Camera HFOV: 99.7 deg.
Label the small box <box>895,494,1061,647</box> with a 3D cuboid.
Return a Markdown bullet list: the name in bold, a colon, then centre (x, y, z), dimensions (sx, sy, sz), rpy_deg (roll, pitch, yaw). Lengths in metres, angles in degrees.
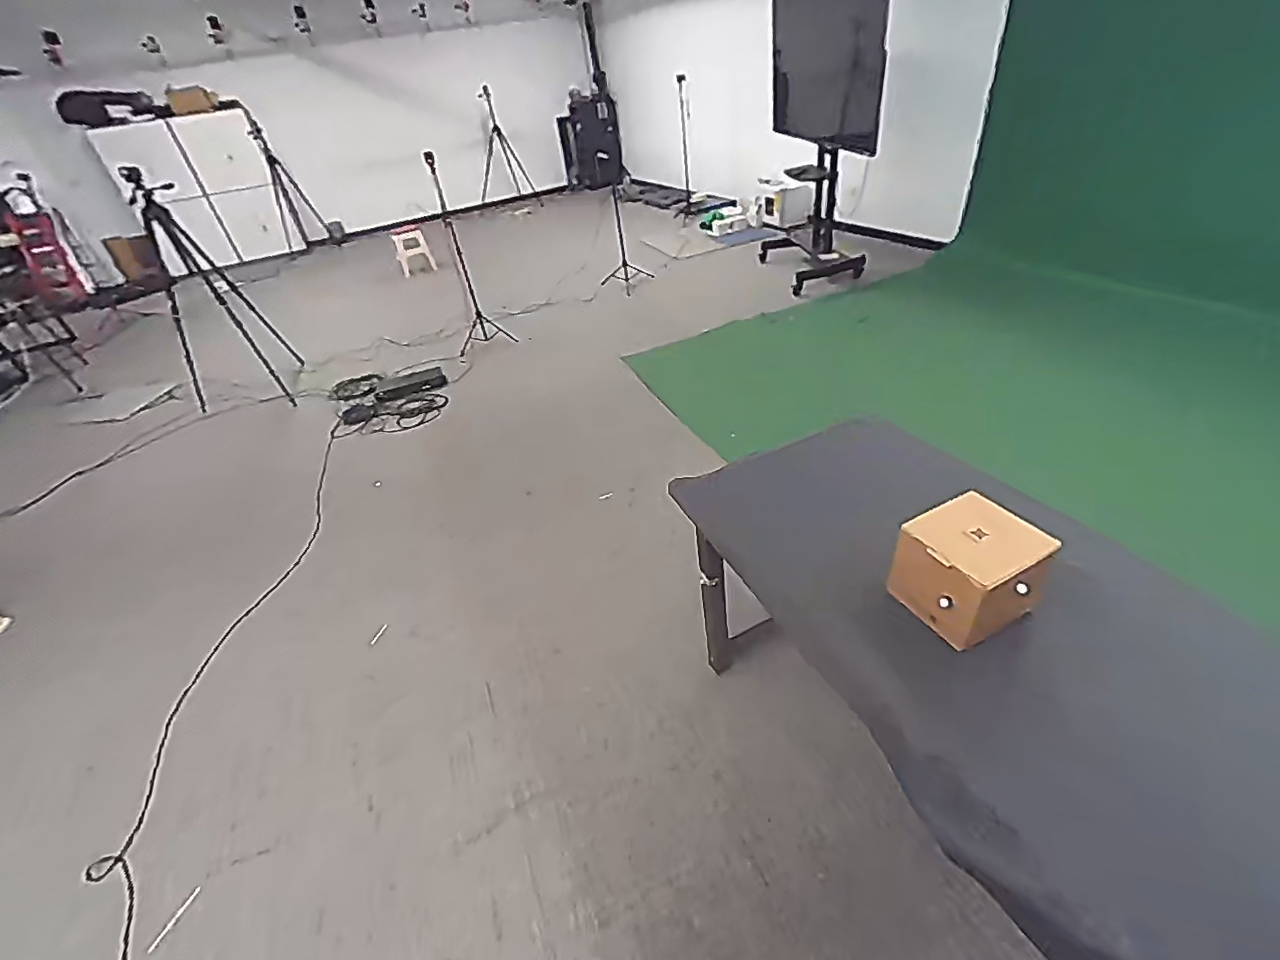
- **small box**: centre (0.576, 0.159, 0.949), dimensions (0.179, 0.176, 0.168), rpy_deg (-21, 40, -17)
